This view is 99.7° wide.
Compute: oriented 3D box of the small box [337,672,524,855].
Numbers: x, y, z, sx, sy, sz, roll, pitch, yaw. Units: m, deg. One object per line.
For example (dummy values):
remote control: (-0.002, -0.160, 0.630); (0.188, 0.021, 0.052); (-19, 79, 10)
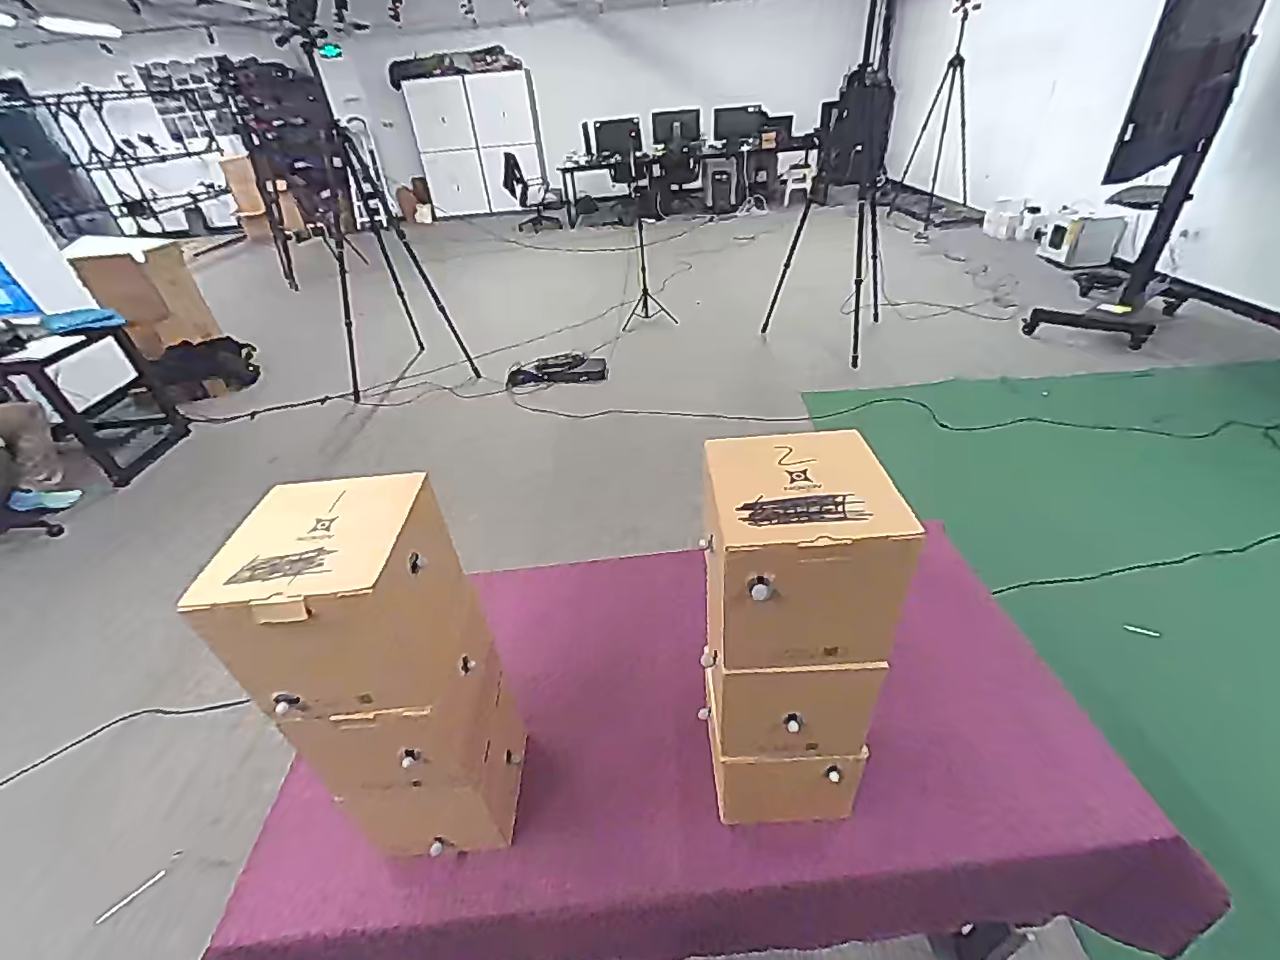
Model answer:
small box: (-0.268, 0.389, 0.744); (0.179, 0.176, 0.168); (-5, 35, 1)

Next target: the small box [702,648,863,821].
small box: (0.183, 0.343, 0.741); (0.179, 0.176, 0.168); (-4, 36, 2)

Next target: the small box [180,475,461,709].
small box: (-0.301, 0.118, 0.563); (0.168, 0.176, 0.179); (-5, 35, 0)

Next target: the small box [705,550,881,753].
small box: (0.168, 0.207, 0.650); (0.168, 0.176, 0.179); (-3, 35, 4)

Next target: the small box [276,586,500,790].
small box: (-0.281, 0.253, 0.654); (0.168, 0.176, 0.179); (-4, 35, 3)
